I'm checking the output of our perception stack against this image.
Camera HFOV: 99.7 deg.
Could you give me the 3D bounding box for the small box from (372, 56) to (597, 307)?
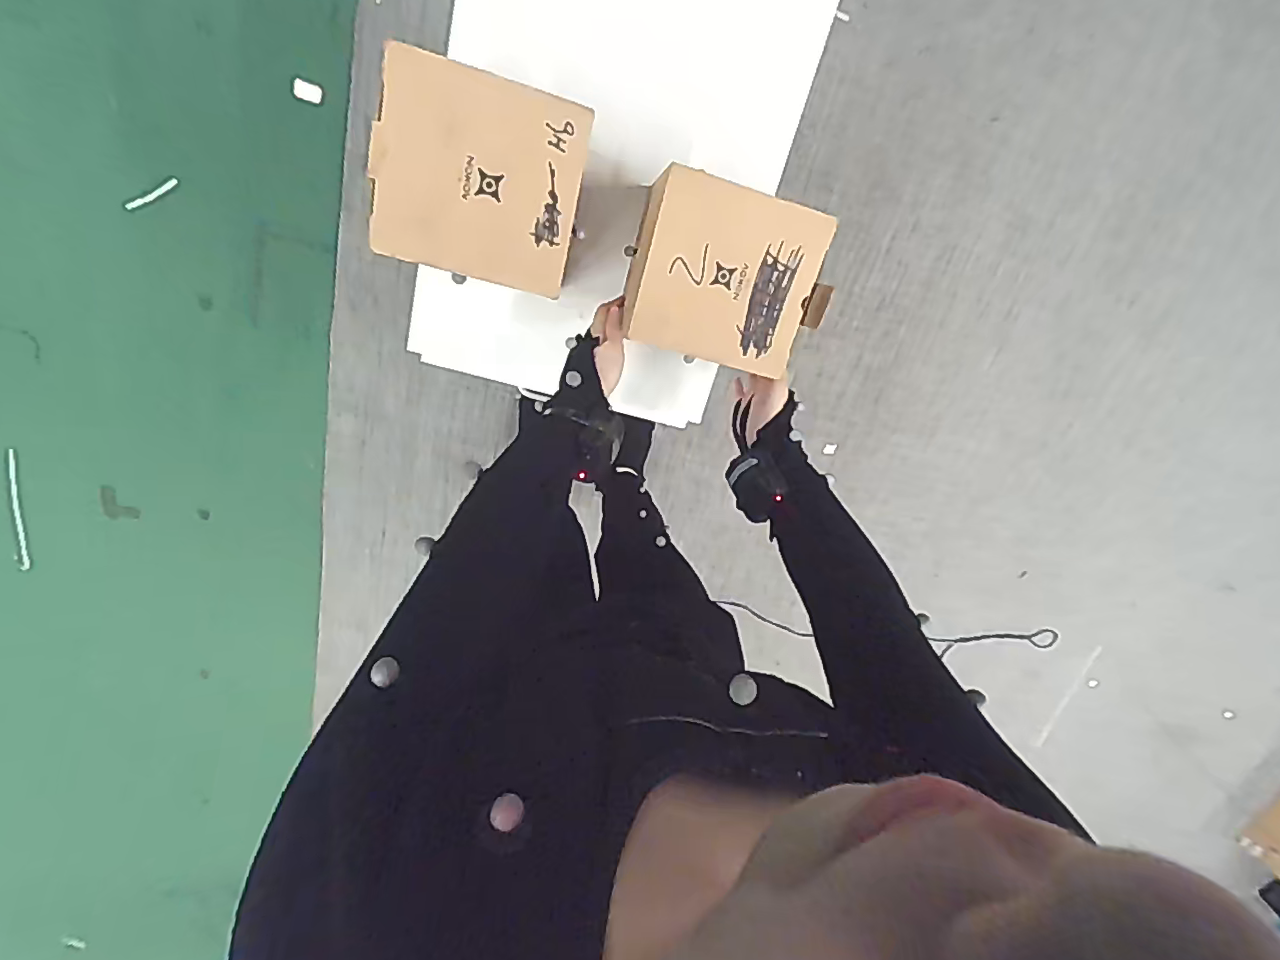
[{"bbox_3d":[-0.152,-0.287,0.559,0.179,0.176,0.168,11,109,-13],"label":"small box"}]
